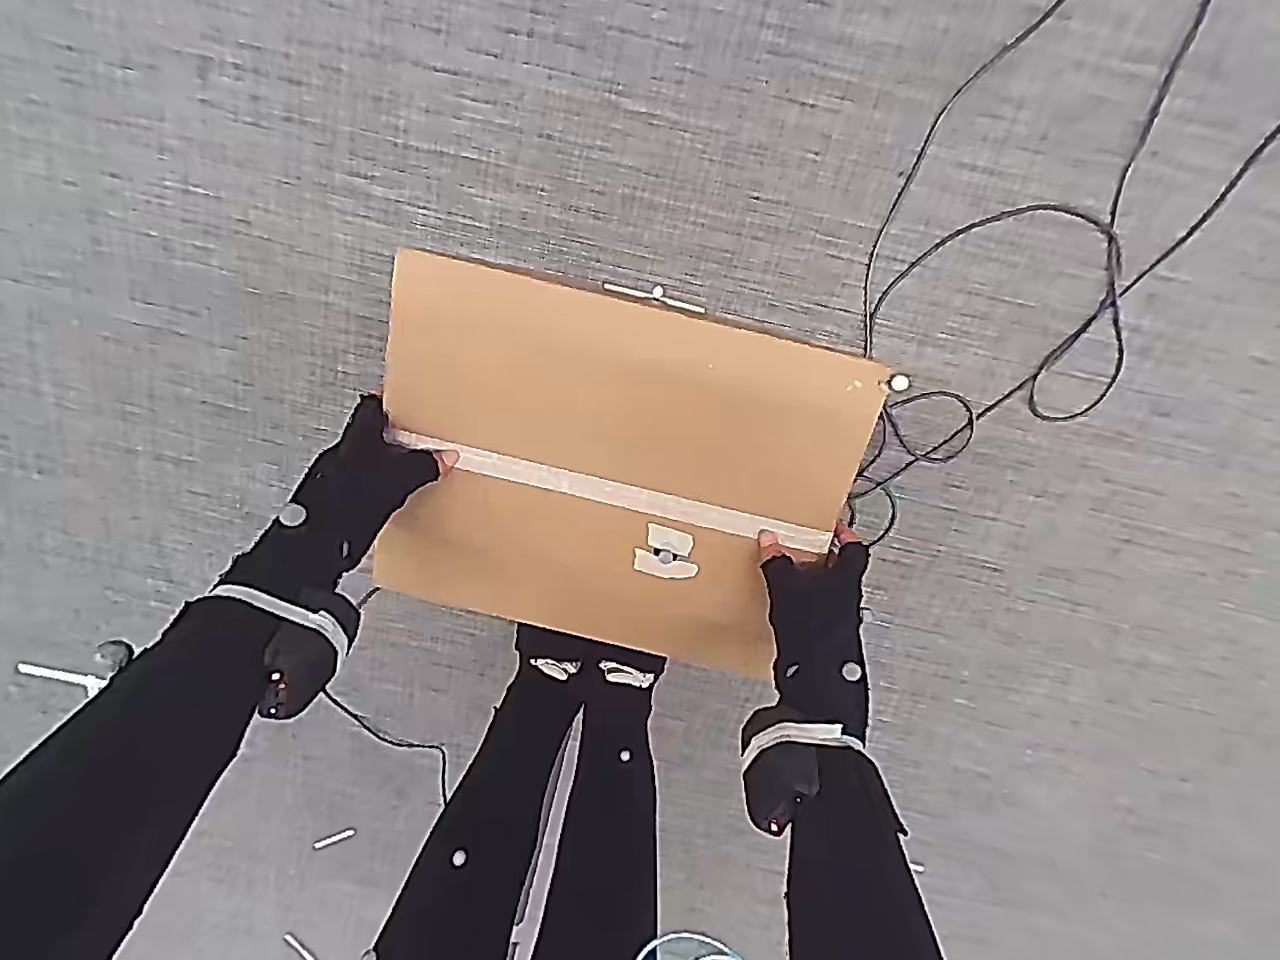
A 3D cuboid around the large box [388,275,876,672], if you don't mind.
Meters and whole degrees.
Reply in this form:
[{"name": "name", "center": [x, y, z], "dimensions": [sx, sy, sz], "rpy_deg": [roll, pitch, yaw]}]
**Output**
[{"name": "large box", "center": [-0.020, -0.035, 0.632], "dimensions": [0.408, 0.320, 0.320], "rpy_deg": [13, 110, 0]}]
